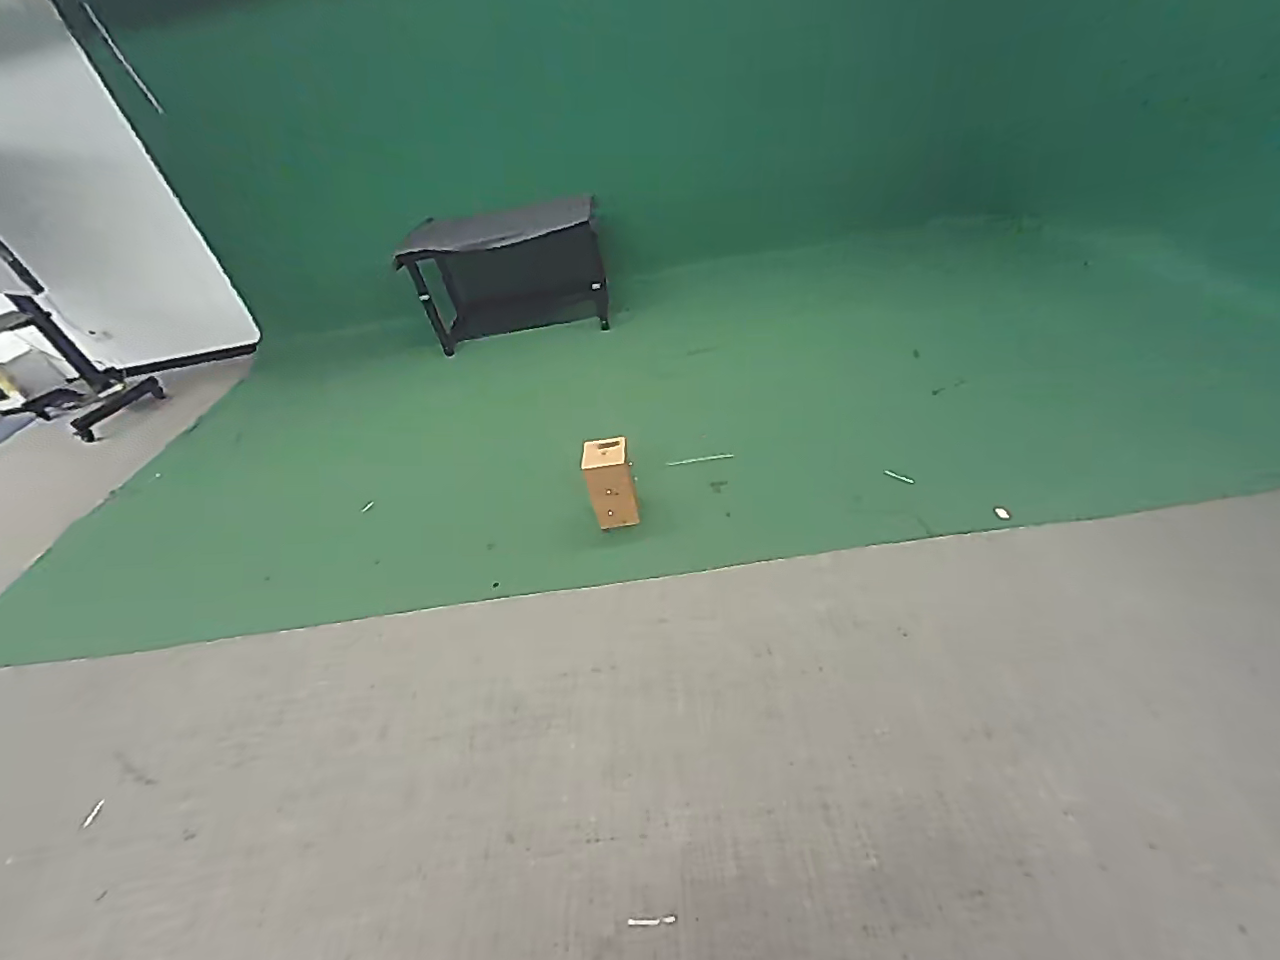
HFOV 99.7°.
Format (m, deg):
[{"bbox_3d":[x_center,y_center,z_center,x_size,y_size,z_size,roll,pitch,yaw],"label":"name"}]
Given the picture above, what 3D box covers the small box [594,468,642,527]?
[{"bbox_3d":[-0.086,0.080,2.225,0.168,0.176,0.179,-8,38,6],"label":"small box"}]
